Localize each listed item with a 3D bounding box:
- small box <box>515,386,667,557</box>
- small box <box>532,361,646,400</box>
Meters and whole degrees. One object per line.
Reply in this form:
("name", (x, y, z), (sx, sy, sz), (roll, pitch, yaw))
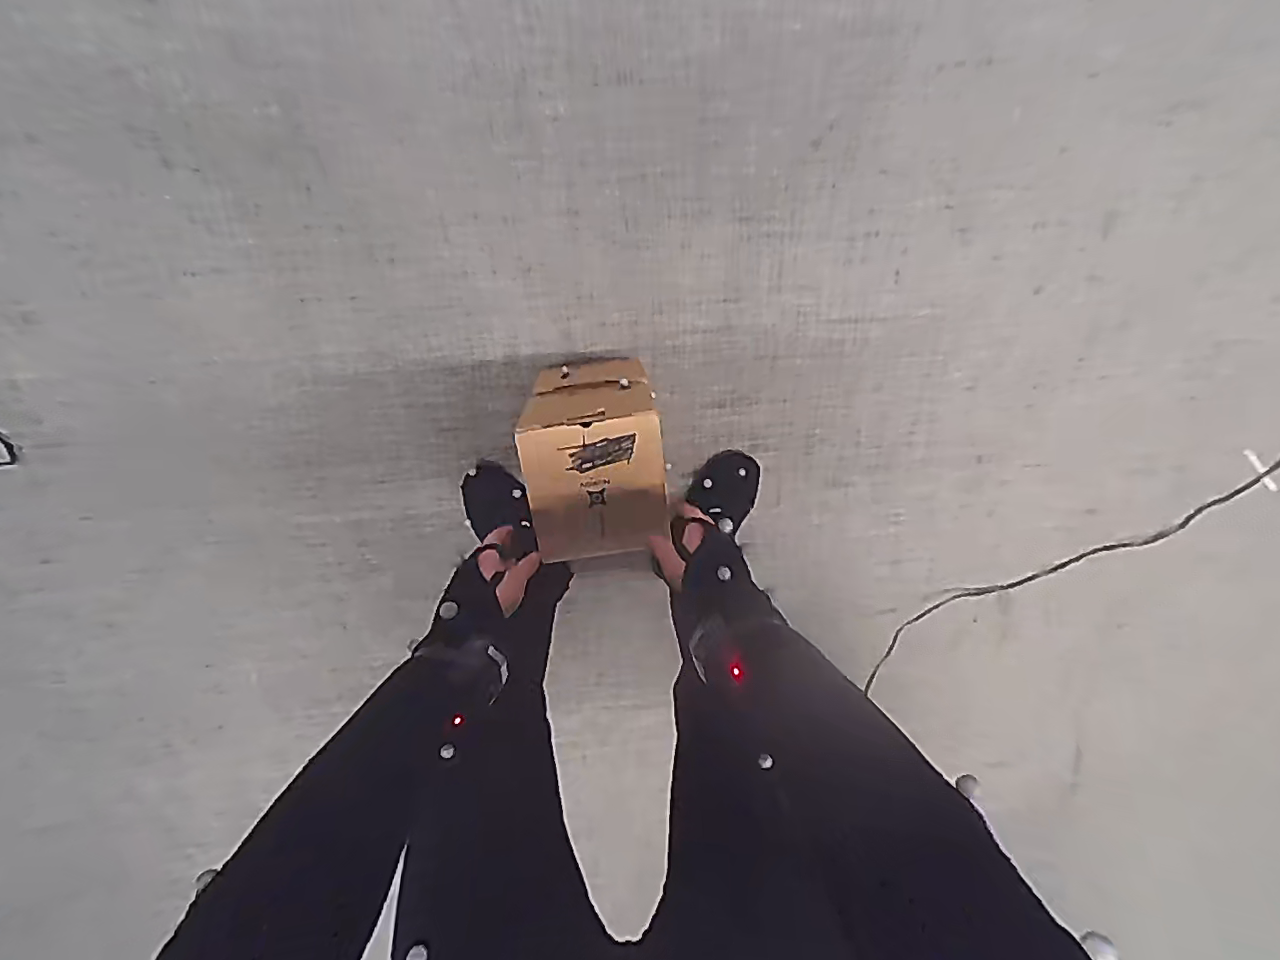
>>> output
("small box", (-0.061, -0.022, 0.723), (0.168, 0.176, 0.179), (-8, 113, -1))
("small box", (-0.074, -0.090, 0.872), (0.168, 0.176, 0.179), (-7, 114, -2))
